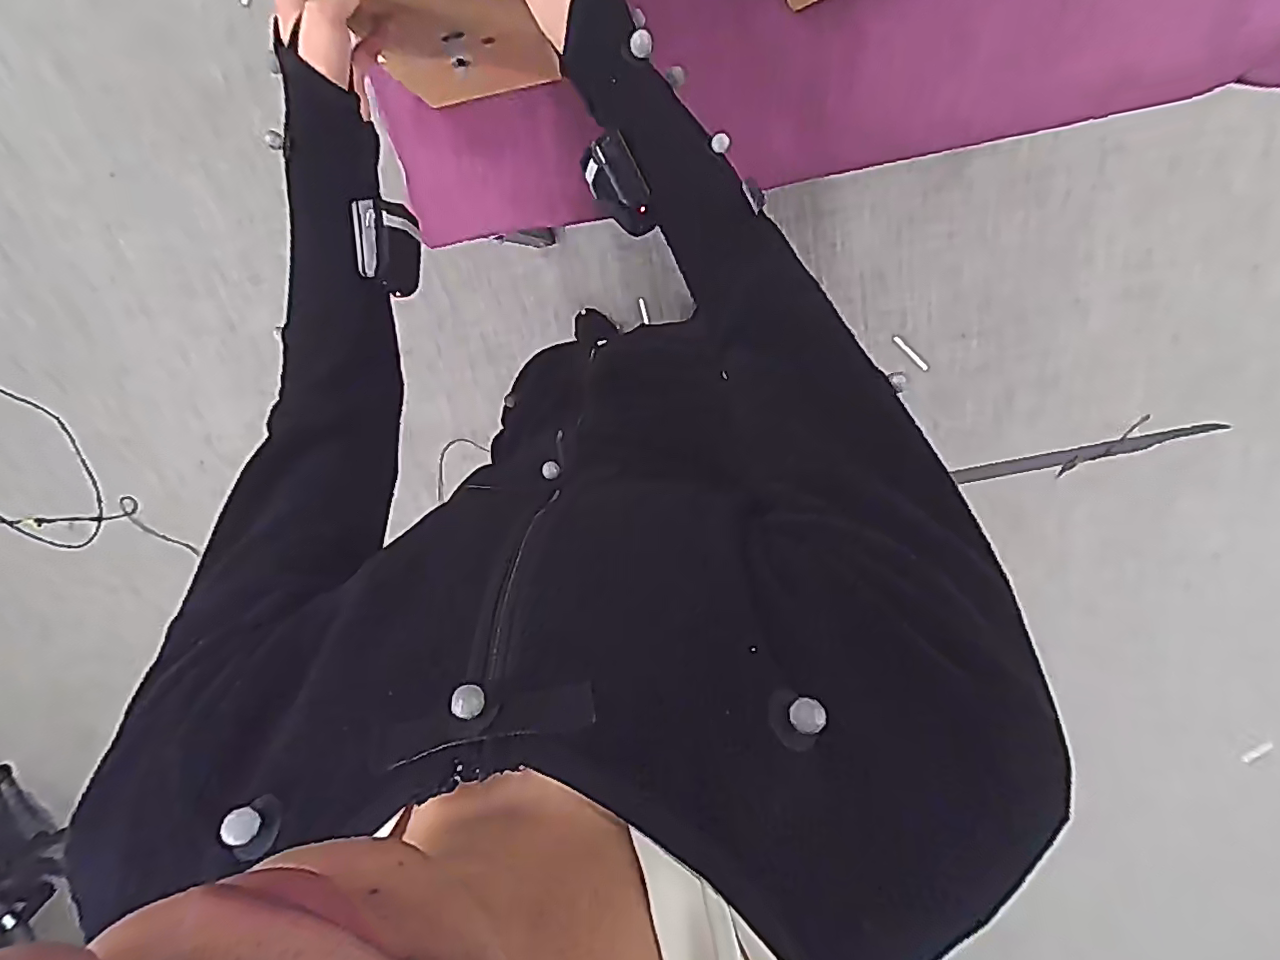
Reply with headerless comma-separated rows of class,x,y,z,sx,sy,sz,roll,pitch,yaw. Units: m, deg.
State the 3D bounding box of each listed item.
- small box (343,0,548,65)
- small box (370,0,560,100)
small box,-0.183,-0.489,0.448,0.168,0.176,0.179,-10,112,3
small box,-0.199,-0.551,0.599,0.179,0.176,0.168,-10,111,3
